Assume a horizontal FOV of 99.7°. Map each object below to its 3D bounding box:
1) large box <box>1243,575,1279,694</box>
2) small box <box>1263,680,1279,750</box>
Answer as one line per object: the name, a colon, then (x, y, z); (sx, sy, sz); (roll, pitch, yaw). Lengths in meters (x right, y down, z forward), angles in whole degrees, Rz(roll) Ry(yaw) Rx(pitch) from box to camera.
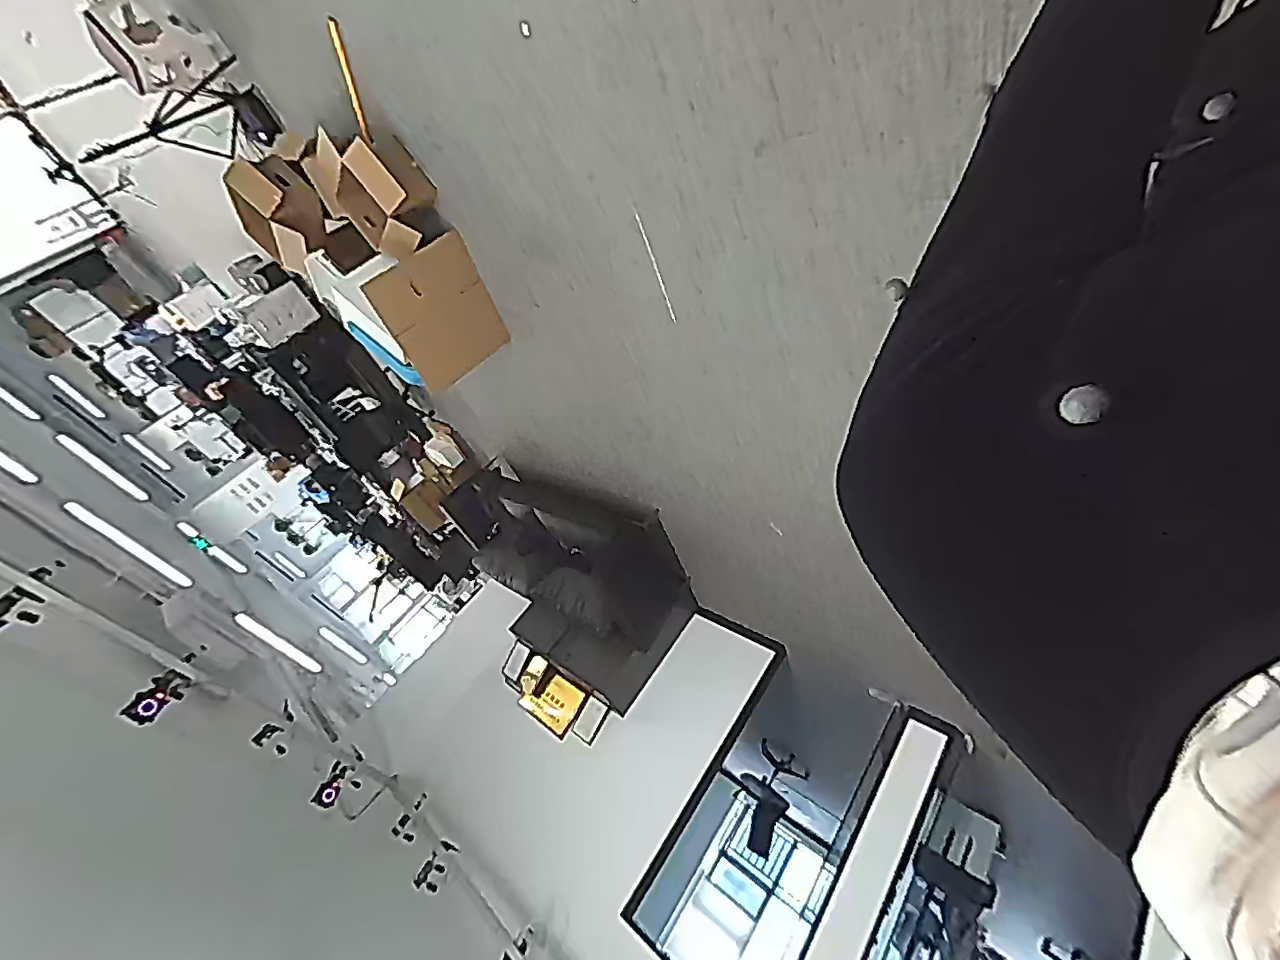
large box: (1.887, 0.445, 1.364); (0.320, 0.320, 0.408); (45, 153, -10)
small box: (1.687, 0.603, 1.315); (0.168, 0.176, 0.179); (47, 153, -9)
